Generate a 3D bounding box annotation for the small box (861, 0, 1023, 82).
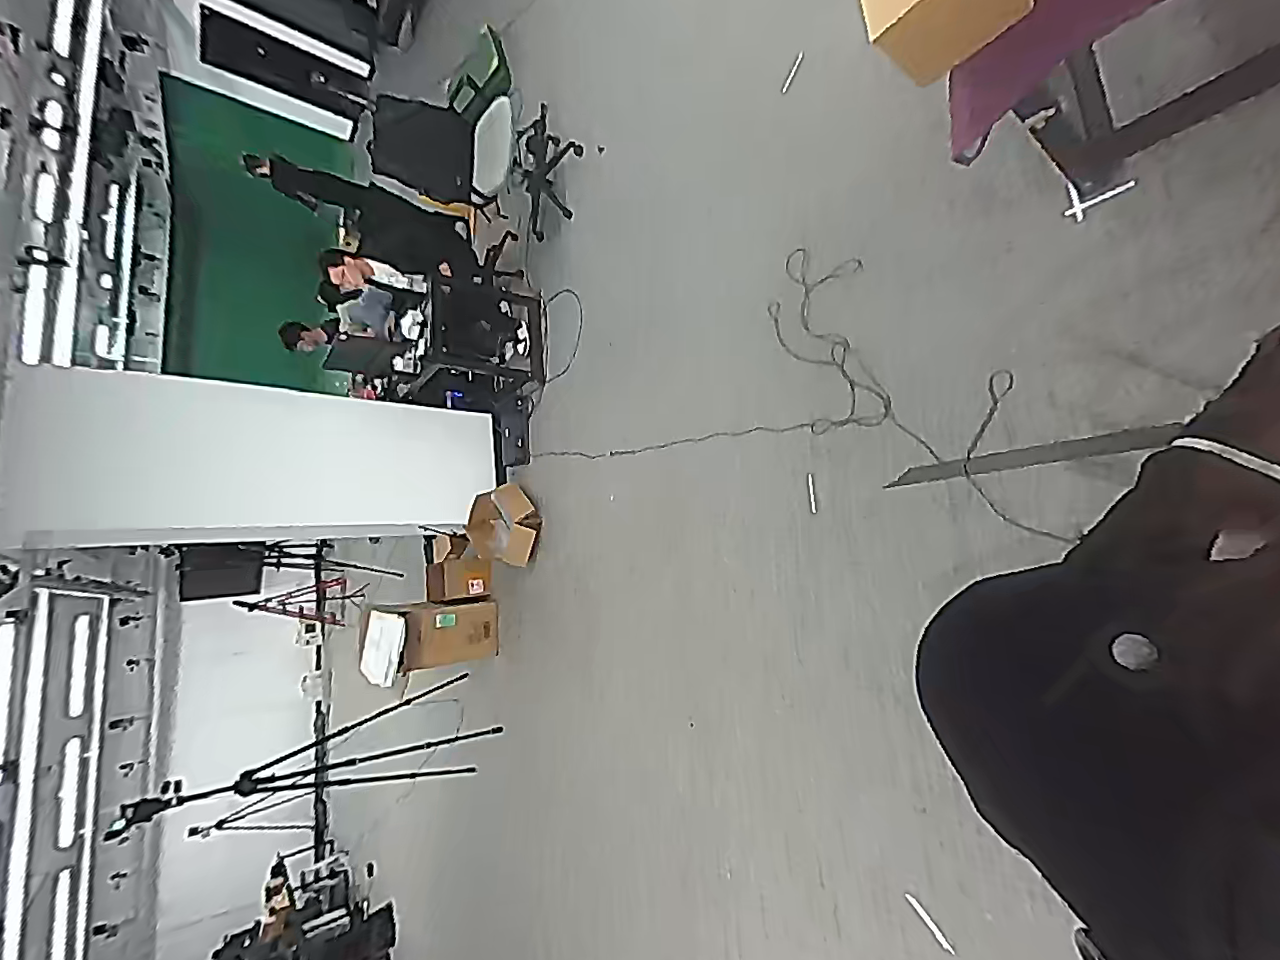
[{"bbox_3d":[0.466,-0.783,0.844,0.179,0.176,0.168,-19,74,49],"label":"small box"}]
